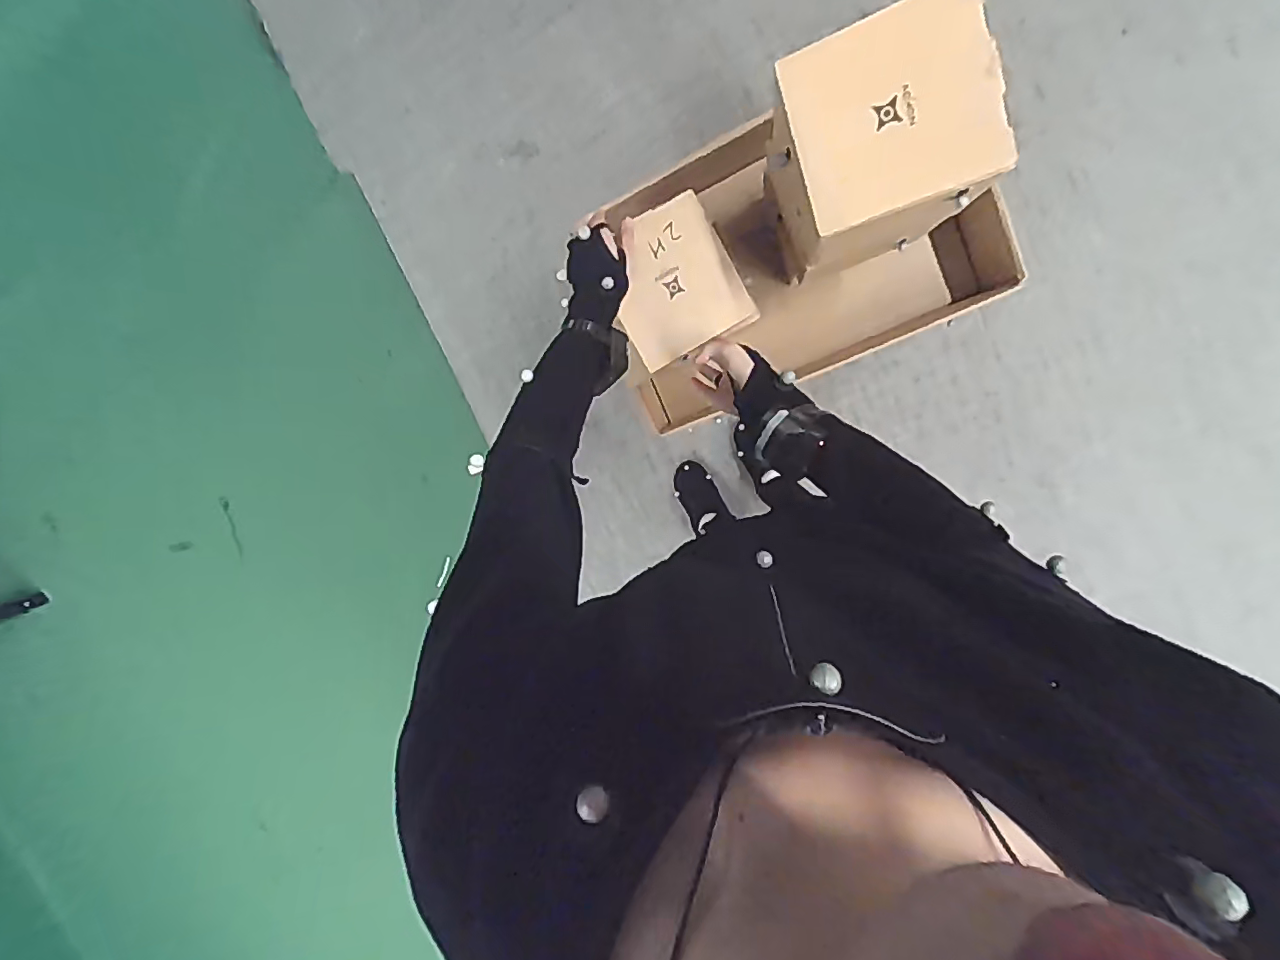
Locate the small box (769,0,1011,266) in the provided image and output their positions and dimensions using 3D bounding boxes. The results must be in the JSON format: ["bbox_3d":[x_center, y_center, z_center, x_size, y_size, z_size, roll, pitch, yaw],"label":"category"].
[{"bbox_3d":[0.242,-0.341,0.563,0.179,0.176,0.168,-16,98,16],"label":"small box"}]

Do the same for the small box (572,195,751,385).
[{"bbox_3d":[0.020,-0.245,0.749,0.168,0.176,0.179,-32,97,-9],"label":"small box"}]
